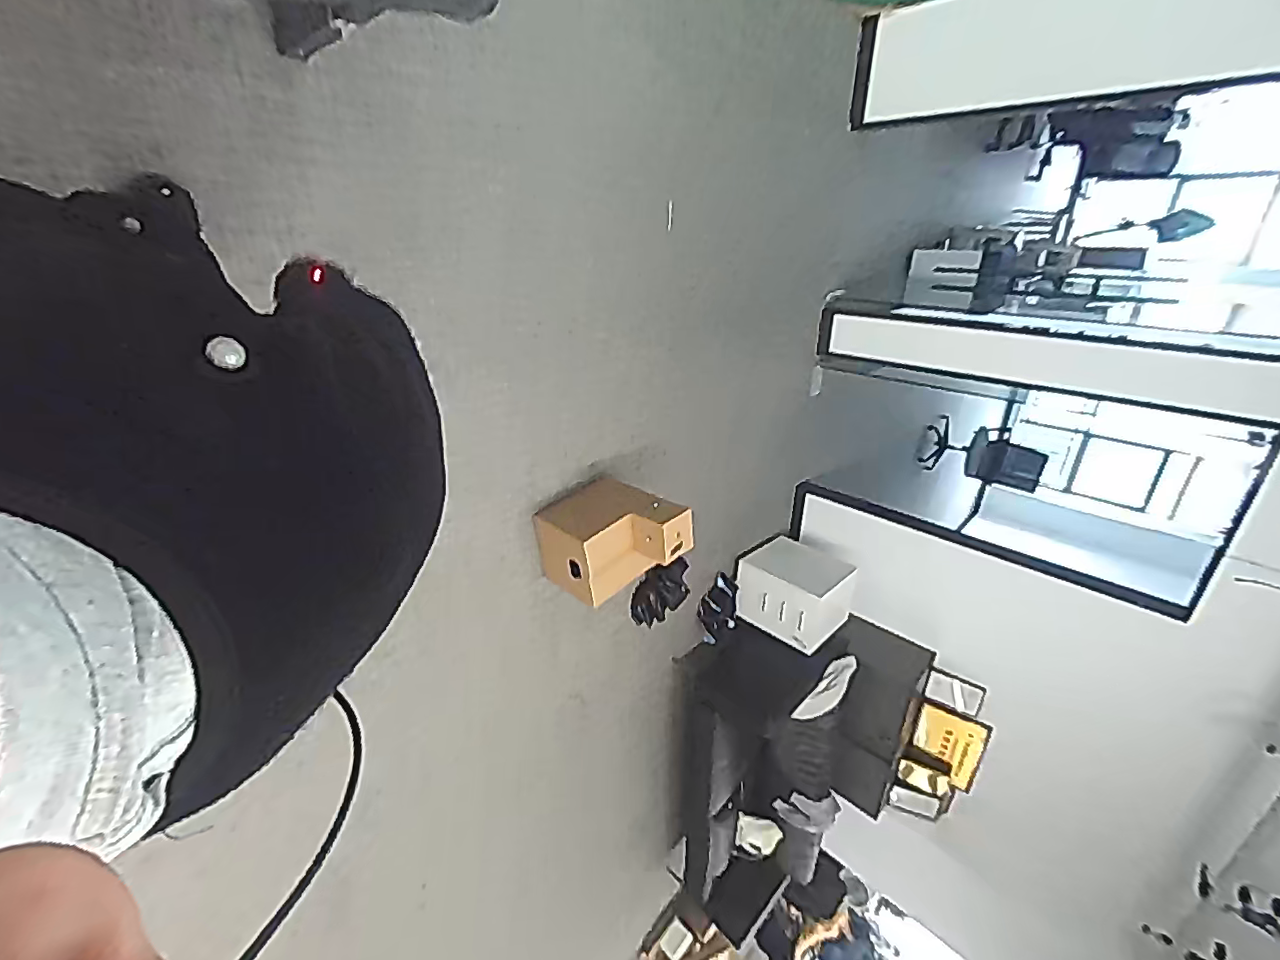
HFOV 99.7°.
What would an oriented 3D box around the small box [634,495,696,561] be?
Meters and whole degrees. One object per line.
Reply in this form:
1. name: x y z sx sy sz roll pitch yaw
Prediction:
1. small box: 0.095 0.179 2.084 0.168 0.176 0.179 -29 122 -40
